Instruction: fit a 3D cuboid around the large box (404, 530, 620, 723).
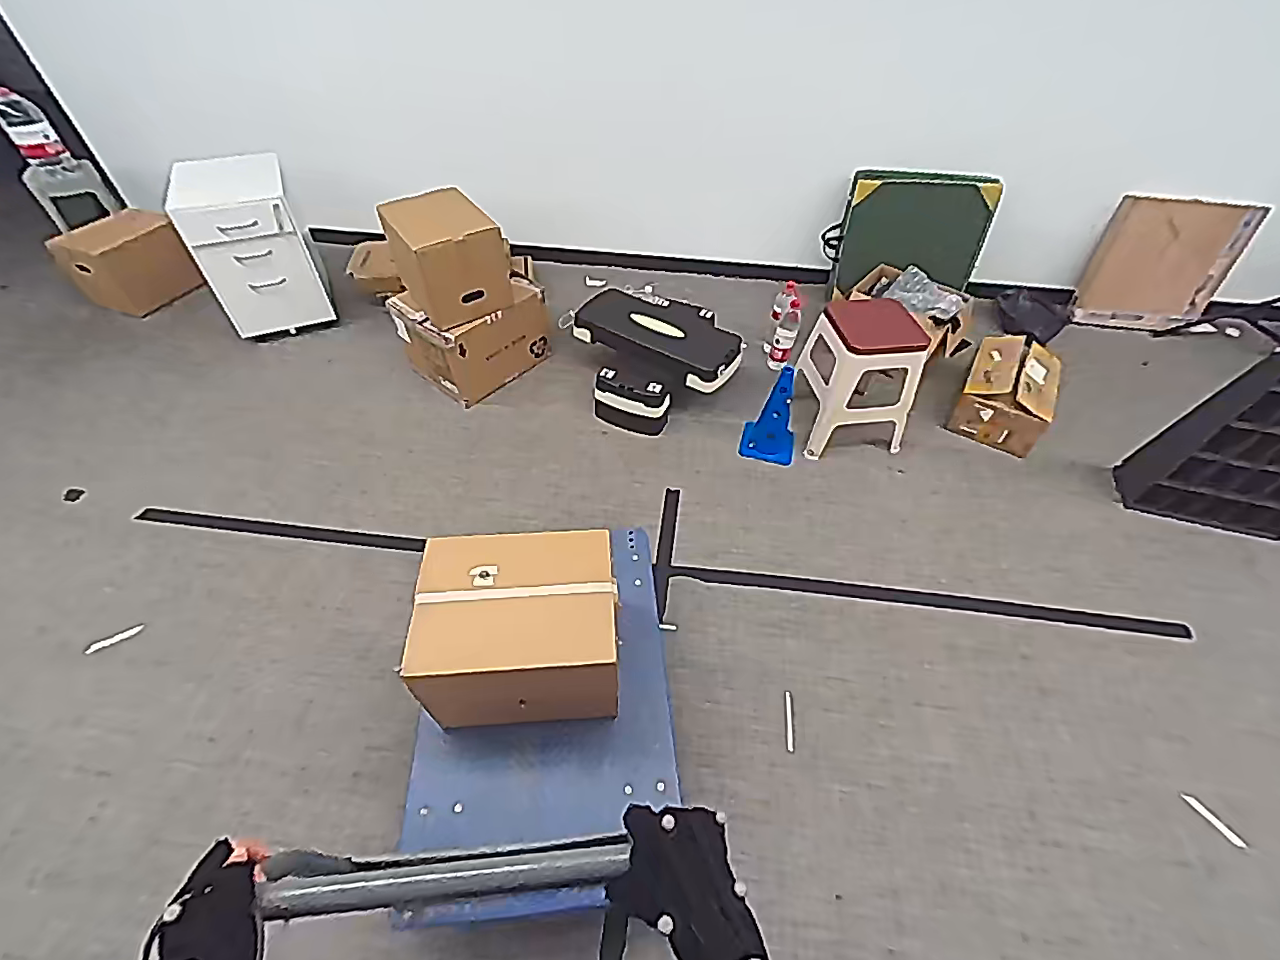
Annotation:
[{"bbox_3d":[-0.256,0.336,1.225,0.408,0.320,0.320,-3,49,-4],"label":"large box"}]
